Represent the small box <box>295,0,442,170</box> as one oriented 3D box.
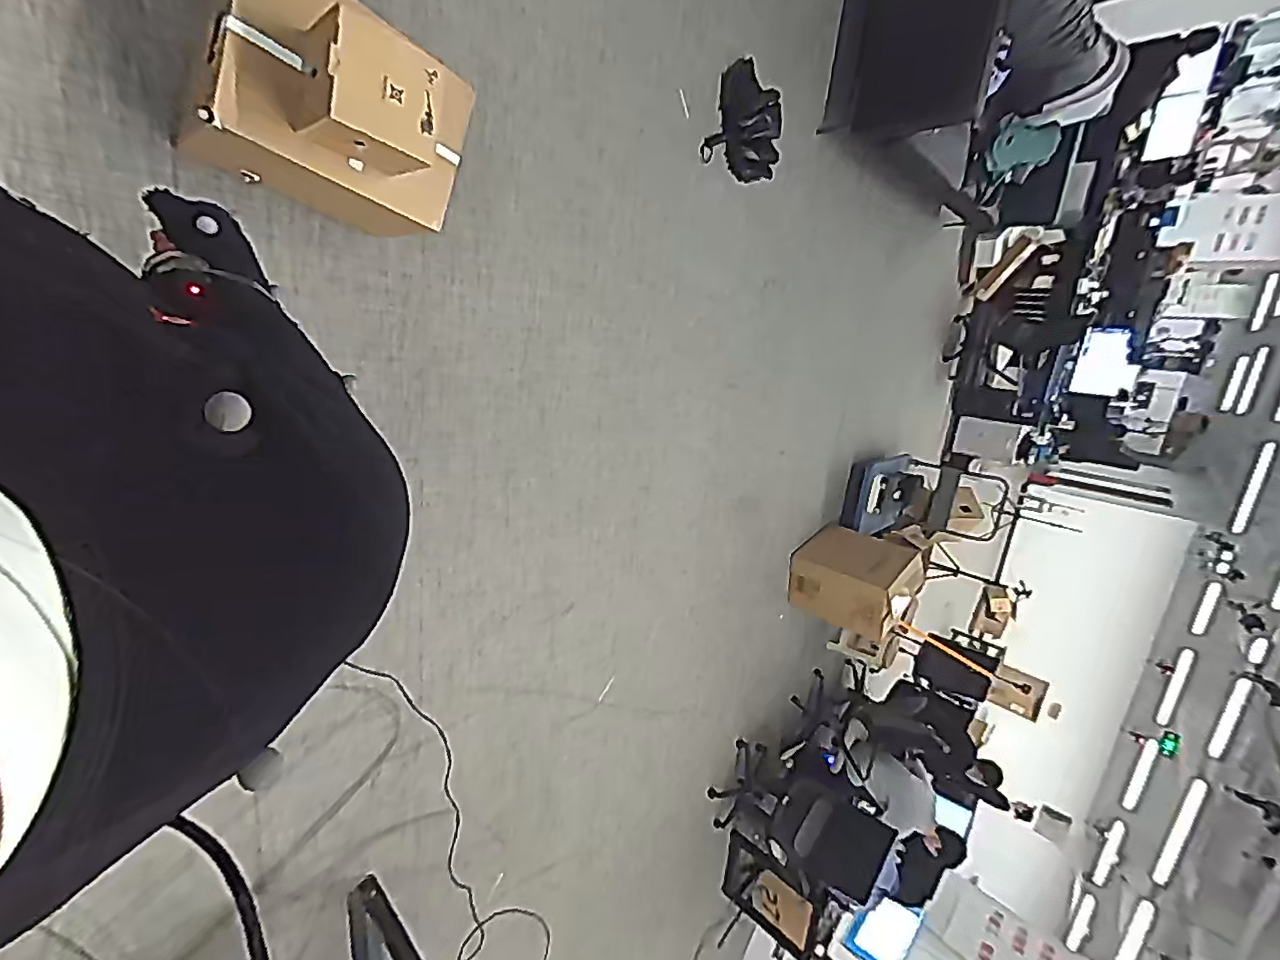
[{"bbox_3d":[-0.471,-0.658,0.930,0.179,0.176,0.168,1,104,-48],"label":"small box"}]
